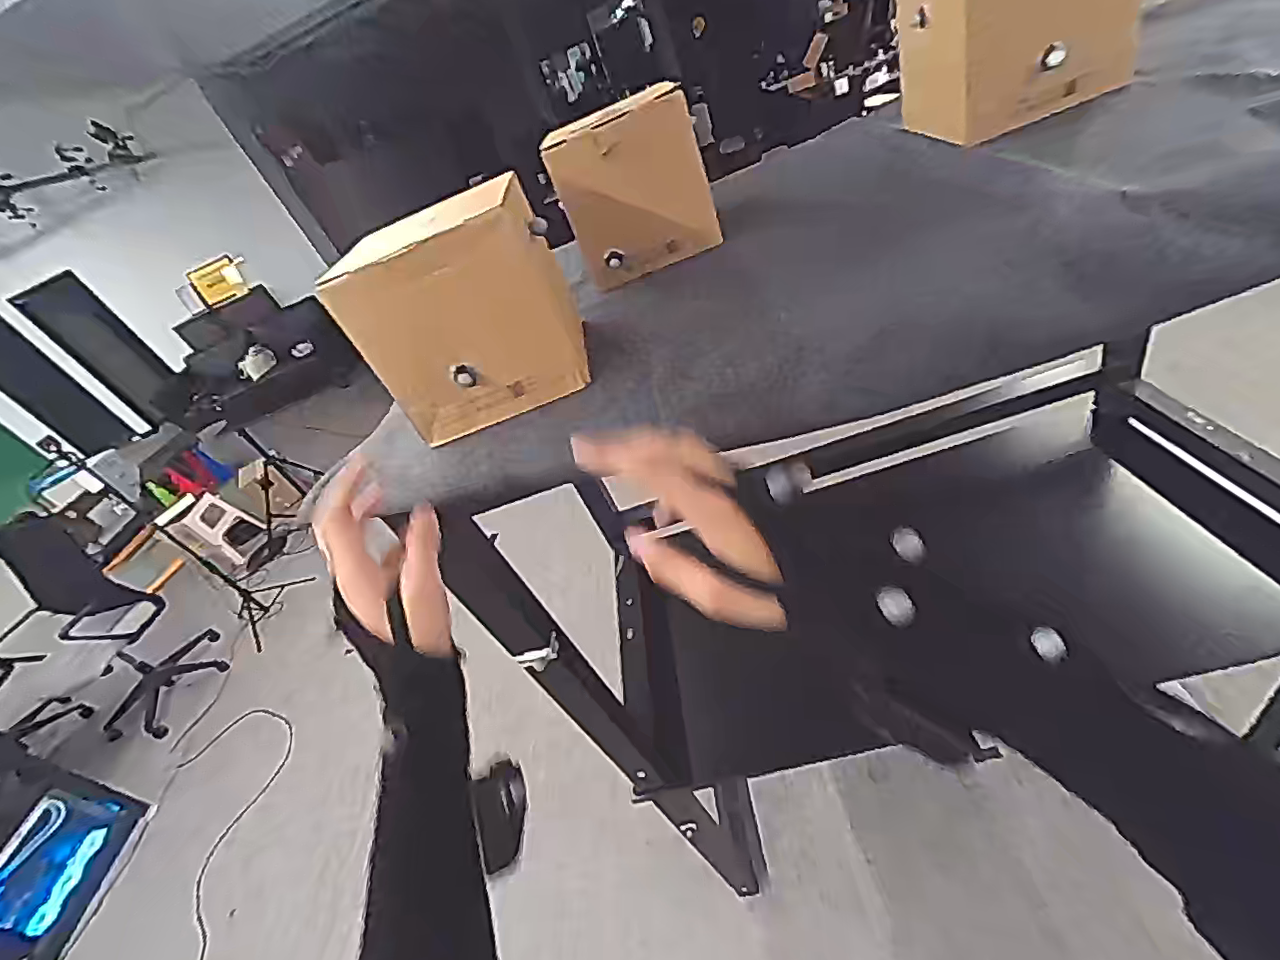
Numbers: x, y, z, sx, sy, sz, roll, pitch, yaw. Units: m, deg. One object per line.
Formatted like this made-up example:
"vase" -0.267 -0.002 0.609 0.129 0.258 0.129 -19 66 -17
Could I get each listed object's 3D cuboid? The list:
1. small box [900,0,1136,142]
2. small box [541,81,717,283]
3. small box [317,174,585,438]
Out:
"small box" 0.405 -0.506 0.604 0.168 0.176 0.179 -18 37 12
"small box" -0.010 -0.374 0.691 0.168 0.176 0.179 -19 36 10
"small box" -0.162 -0.170 0.529 0.168 0.176 0.179 -21 37 6
